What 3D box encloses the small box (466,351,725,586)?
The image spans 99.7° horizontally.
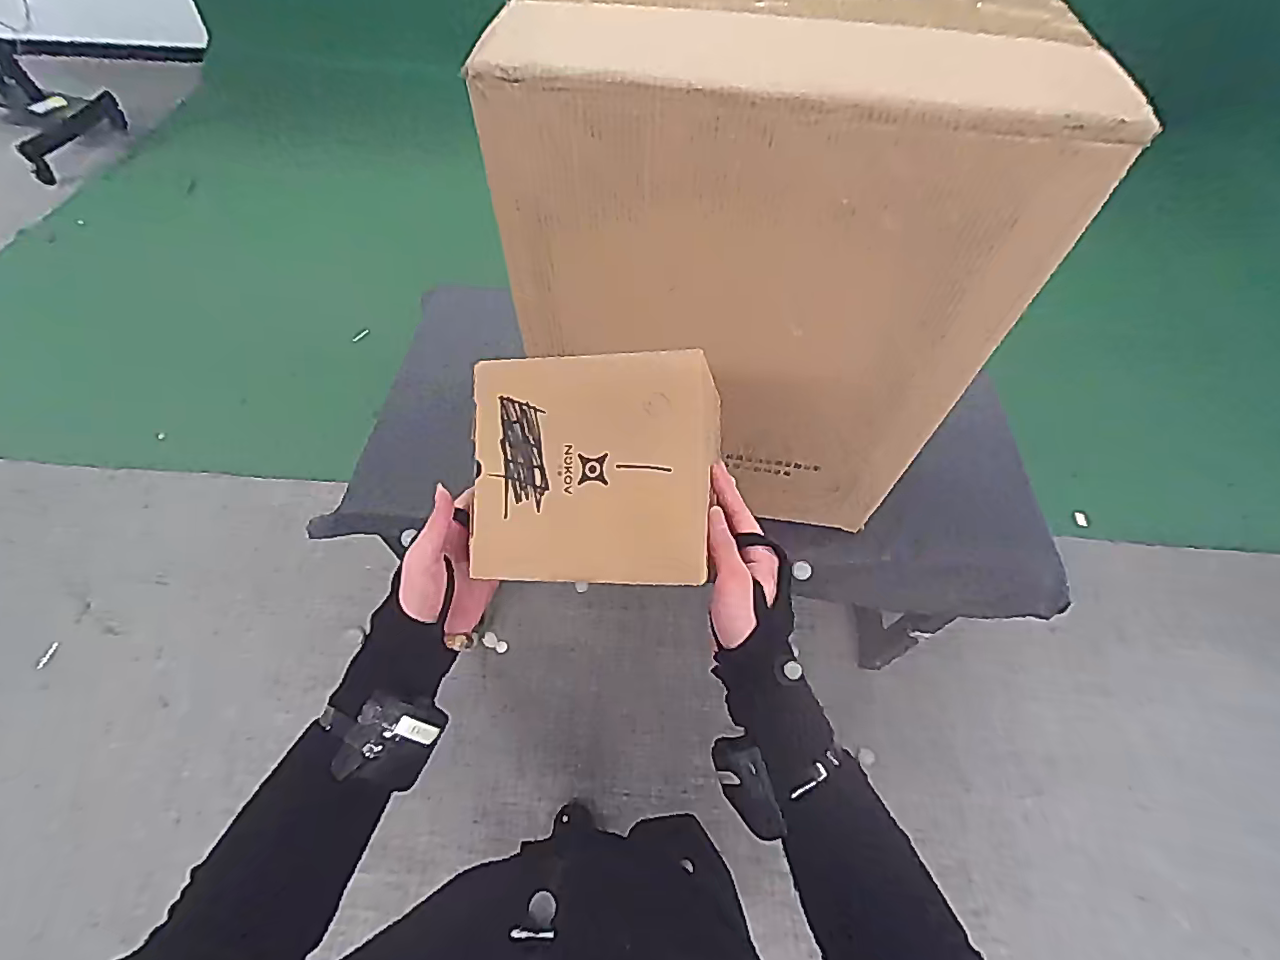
[{"bbox_3d":[-0.027,-0.011,0.472,0.179,0.176,0.168,2,91,15],"label":"small box"}]
